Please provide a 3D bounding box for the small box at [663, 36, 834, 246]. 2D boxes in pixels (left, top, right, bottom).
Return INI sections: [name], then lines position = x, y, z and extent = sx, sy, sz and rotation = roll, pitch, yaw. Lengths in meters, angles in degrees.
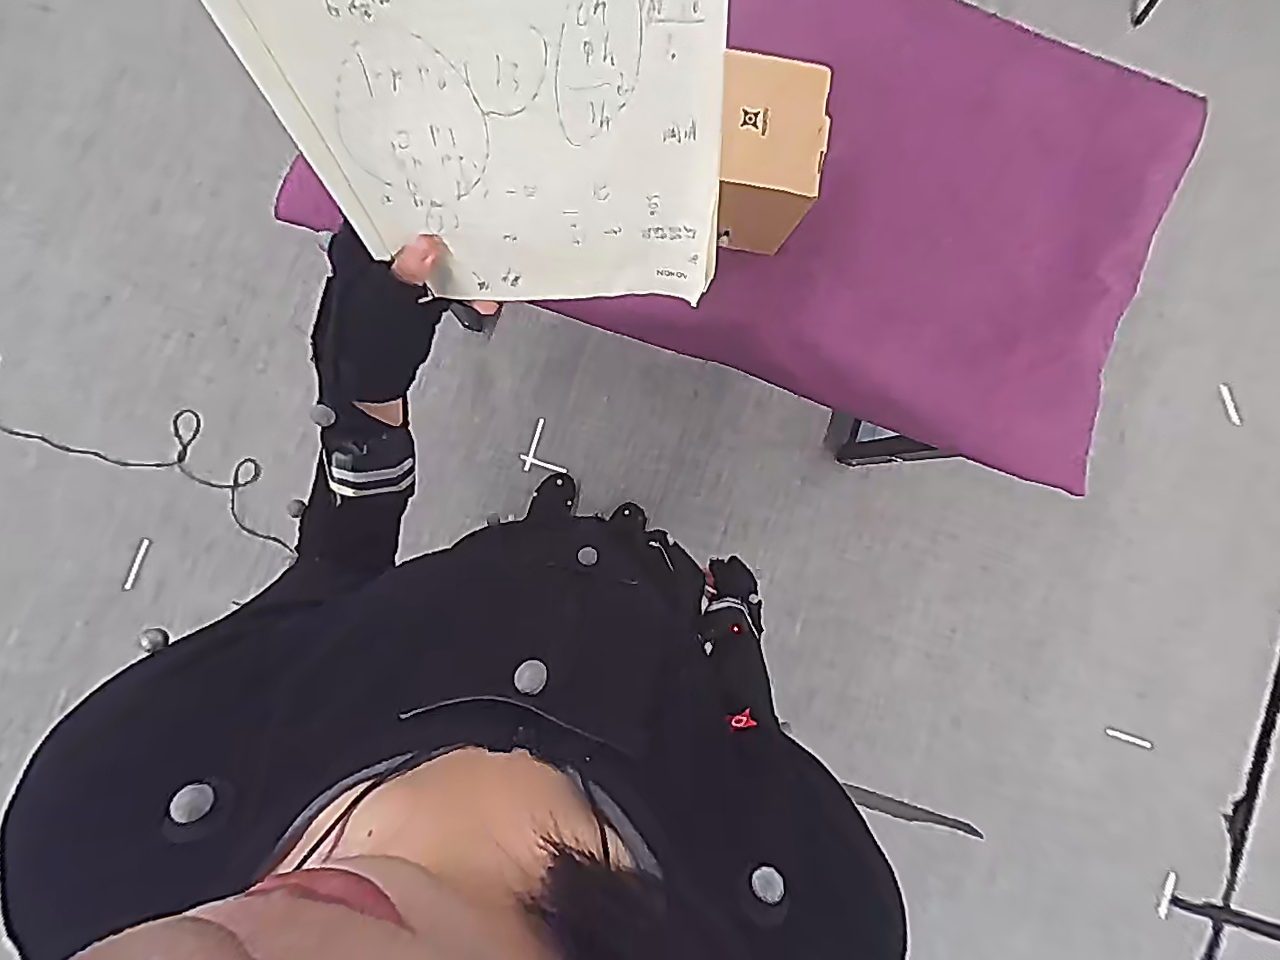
[small box]
position = 0.136, -0.441, 0.734
extent = 0.179, 0.176, 0.168
rotation = 7, 88, -5
